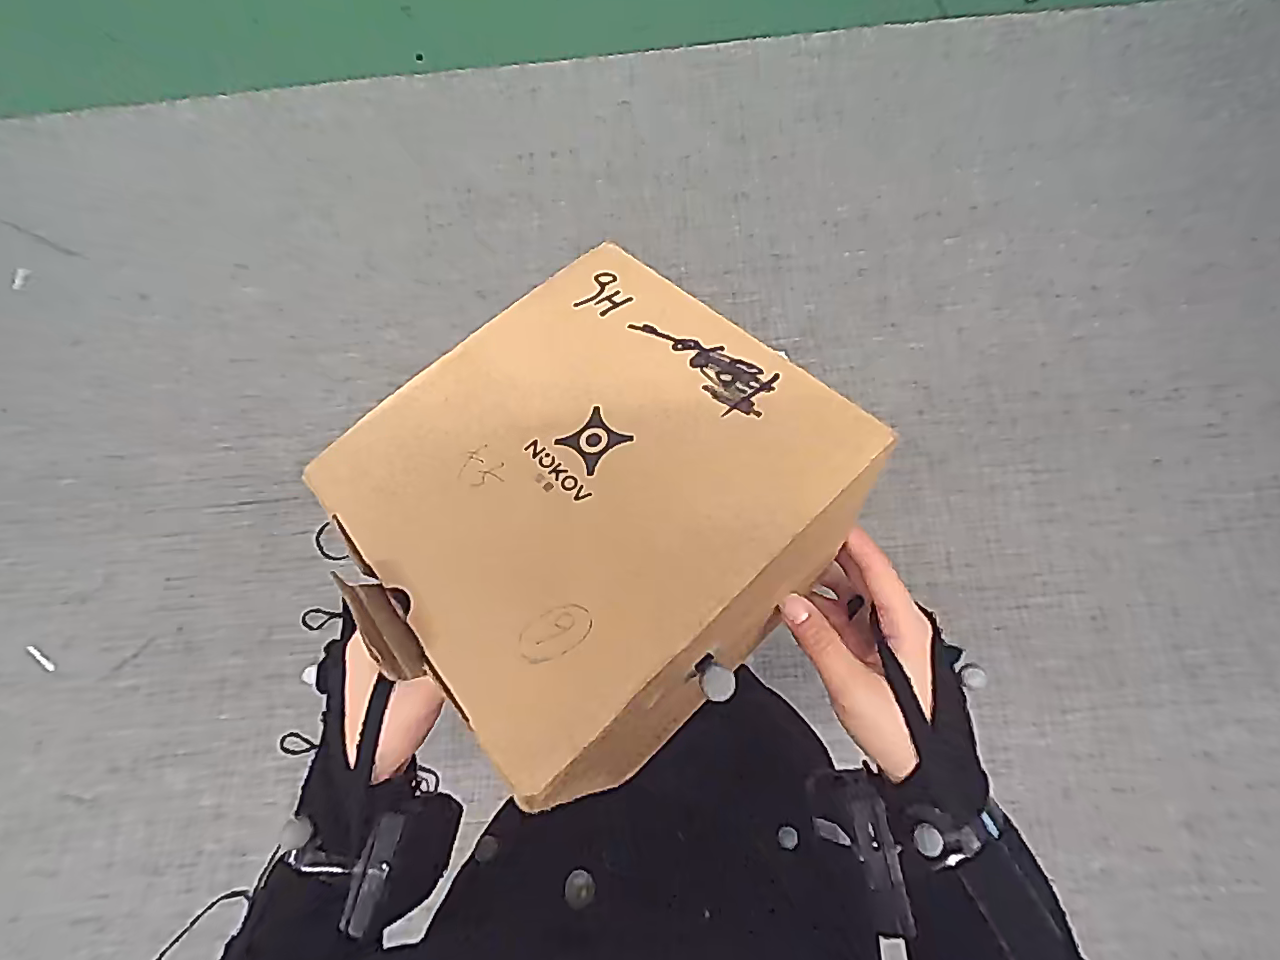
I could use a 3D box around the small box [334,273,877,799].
[{"bbox_3d":[-0.009,0.035,0.293,0.179,0.176,0.168,-42,65,-12],"label":"small box"}]
